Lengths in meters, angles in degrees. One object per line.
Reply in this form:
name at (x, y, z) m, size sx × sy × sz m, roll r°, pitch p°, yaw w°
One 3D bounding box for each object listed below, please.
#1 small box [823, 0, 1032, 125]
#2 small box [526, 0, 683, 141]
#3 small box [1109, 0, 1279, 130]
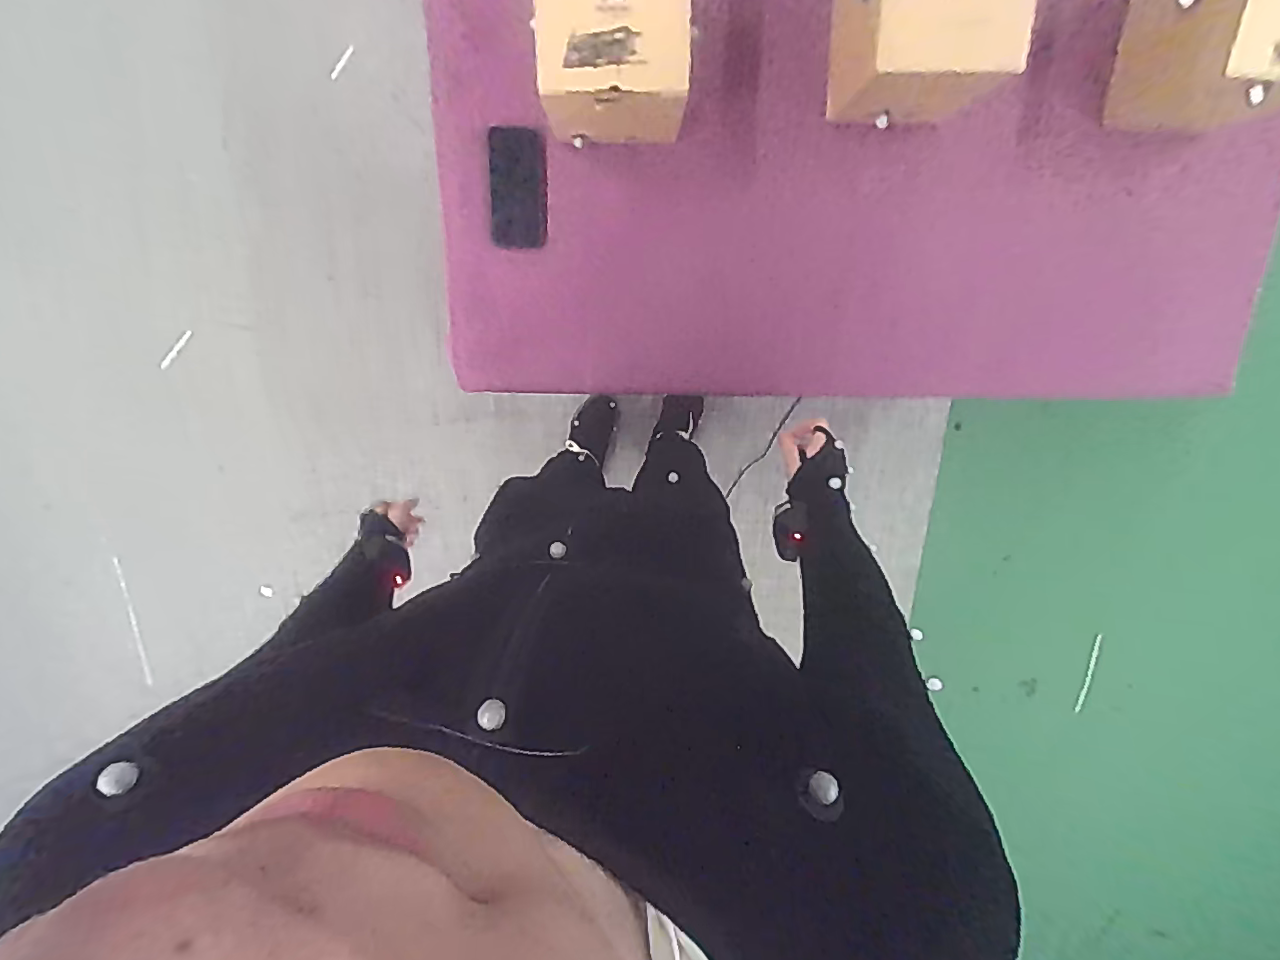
small box at (0.327, -0.548, 0.635) m, size 0.168 × 0.176 × 0.179 m, roll -1°, pitch 106°, yaw 0°
small box at (-0.037, -0.518, 0.634) m, size 0.168 × 0.176 × 0.179 m, roll -1°, pitch 105°, yaw -1°
small box at (0.716, -0.548, 0.642) m, size 0.168 × 0.176 × 0.179 m, roll 1°, pitch 105°, yaw -1°
